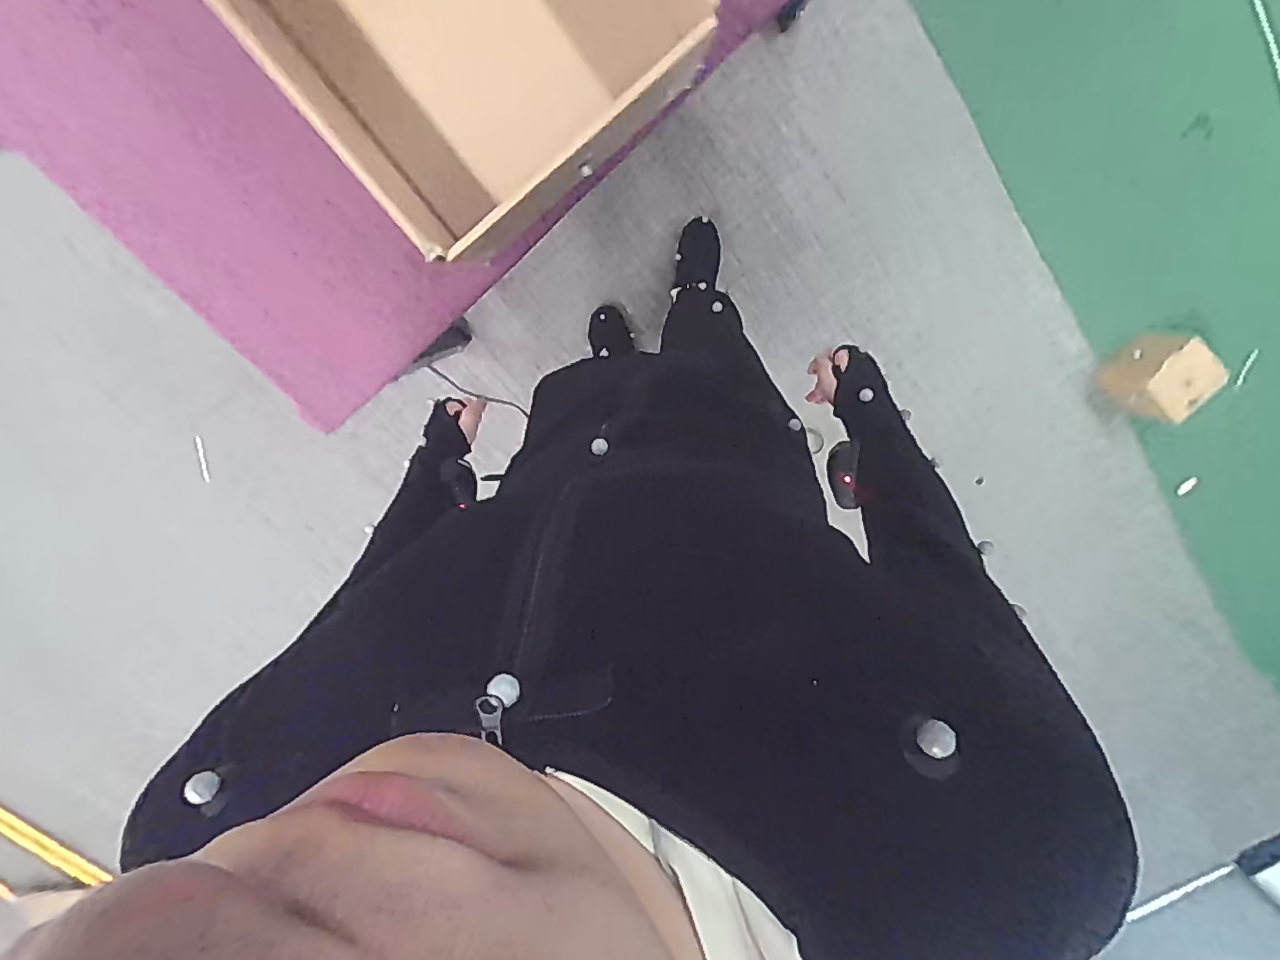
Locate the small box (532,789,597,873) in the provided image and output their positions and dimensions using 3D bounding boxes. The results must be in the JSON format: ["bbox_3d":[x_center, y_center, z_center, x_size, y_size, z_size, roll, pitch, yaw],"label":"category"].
[{"bbox_3d":[-0.277,1.304,2.017,0.179,0.176,0.168,-42,104,12],"label":"small box"}]

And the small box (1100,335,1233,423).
[{"bbox_3d":[1.454,-0.286,1.507,0.179,0.176,0.168,37,104,-13],"label":"small box"}]
